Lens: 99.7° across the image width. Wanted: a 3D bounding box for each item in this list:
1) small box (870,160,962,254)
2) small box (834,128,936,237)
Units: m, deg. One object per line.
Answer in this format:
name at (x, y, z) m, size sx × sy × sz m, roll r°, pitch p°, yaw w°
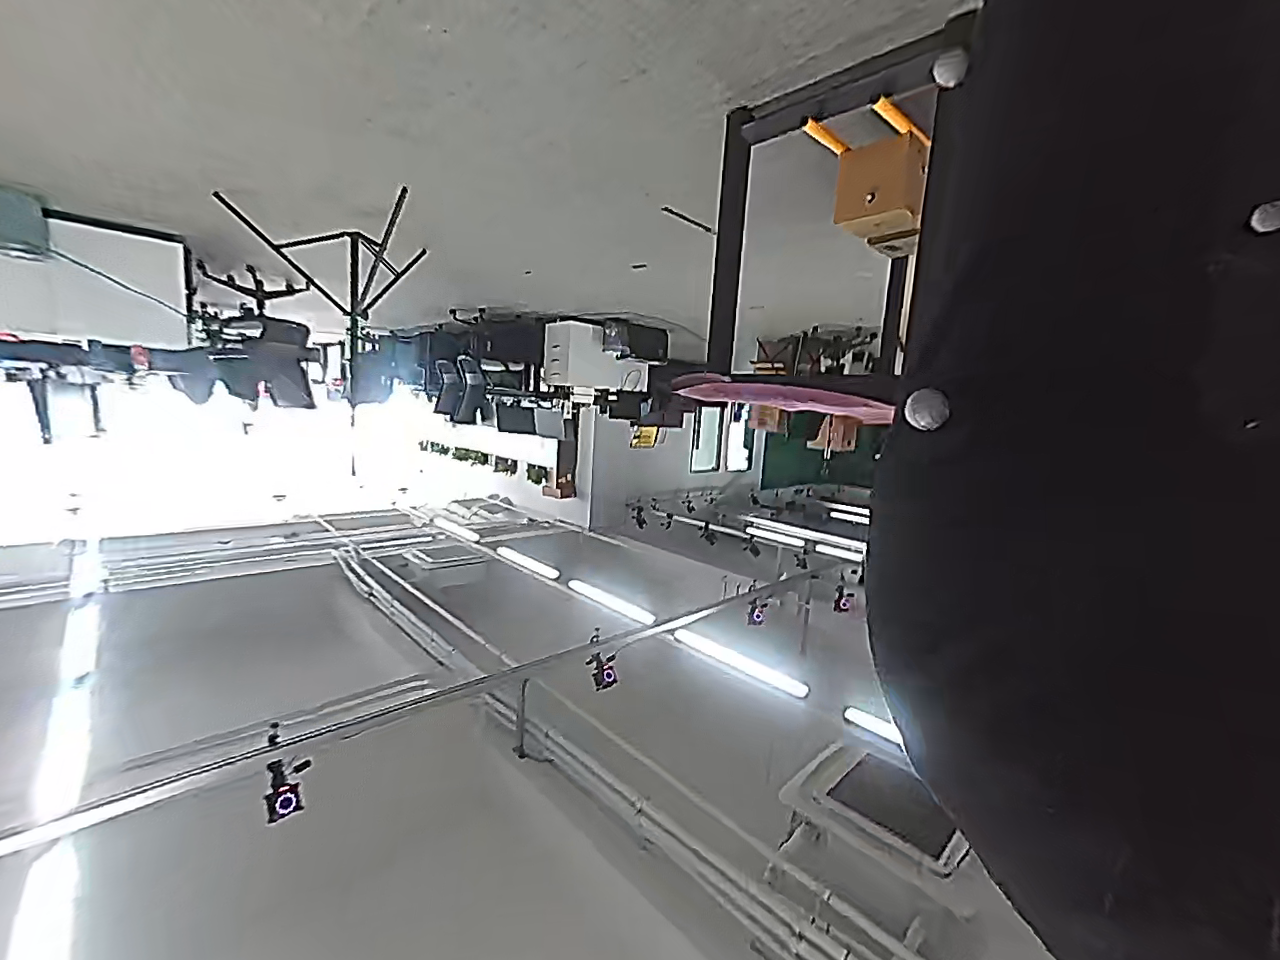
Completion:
small box at (0.751, -0.735, 1.470) m, size 0.168 × 0.176 × 0.179 m, roll -5°, pitch -171°, yaw -43°
small box at (0.602, -0.721, 1.327) m, size 0.168 × 0.176 × 0.179 m, roll -5°, pitch -170°, yaw -43°
